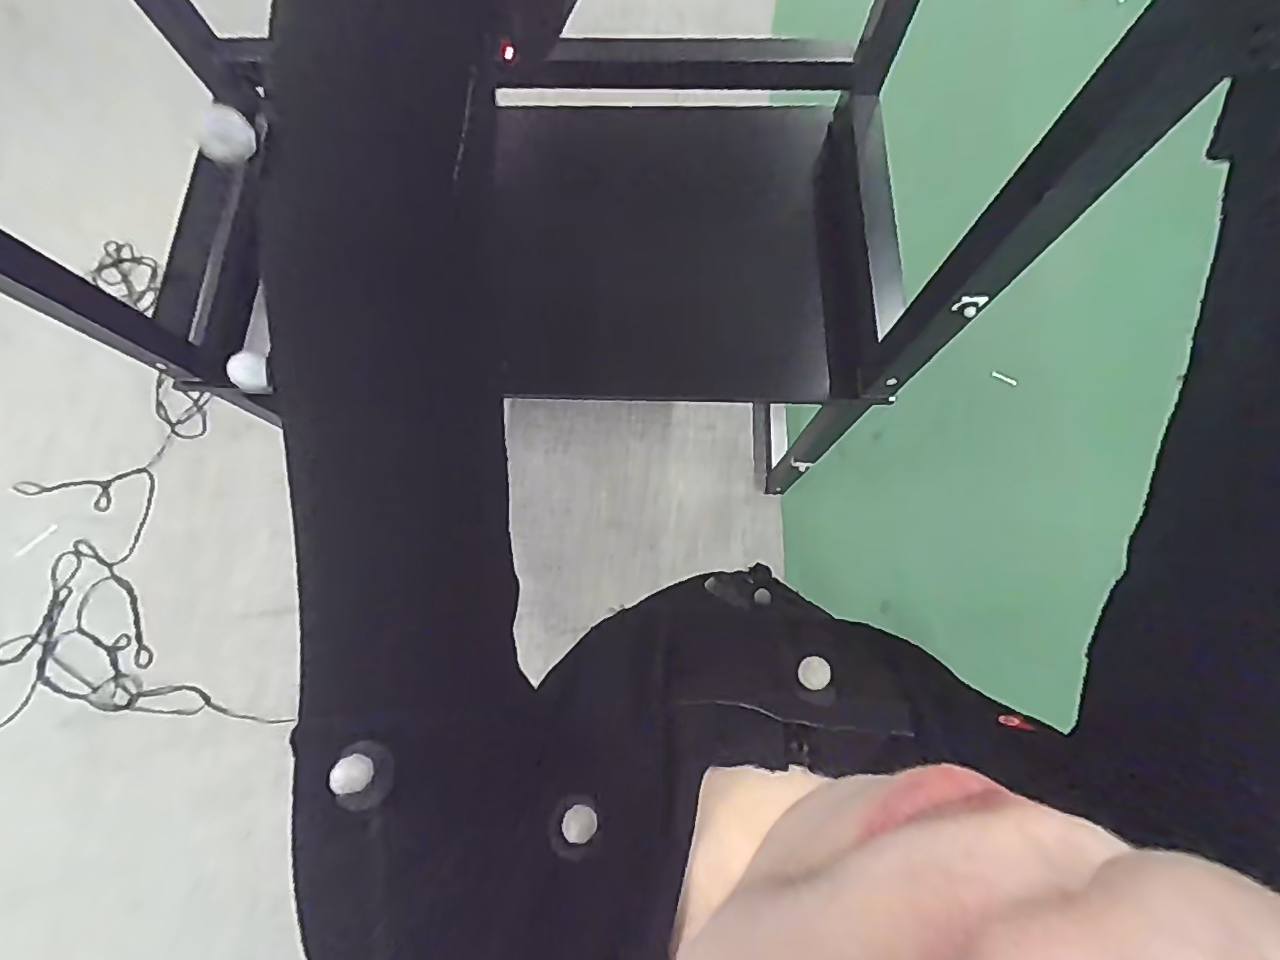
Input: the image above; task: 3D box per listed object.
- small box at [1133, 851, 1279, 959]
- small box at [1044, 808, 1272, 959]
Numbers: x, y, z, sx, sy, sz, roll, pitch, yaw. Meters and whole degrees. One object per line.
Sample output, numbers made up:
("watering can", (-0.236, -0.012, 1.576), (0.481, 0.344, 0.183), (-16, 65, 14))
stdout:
("small box", (0.672, 0.531, 0.570), (0.168, 0.176, 0.179), (9, 77, 4))
("small box", (0.681, 0.566, 0.728), (0.179, 0.176, 0.168), (6, 77, 4))
